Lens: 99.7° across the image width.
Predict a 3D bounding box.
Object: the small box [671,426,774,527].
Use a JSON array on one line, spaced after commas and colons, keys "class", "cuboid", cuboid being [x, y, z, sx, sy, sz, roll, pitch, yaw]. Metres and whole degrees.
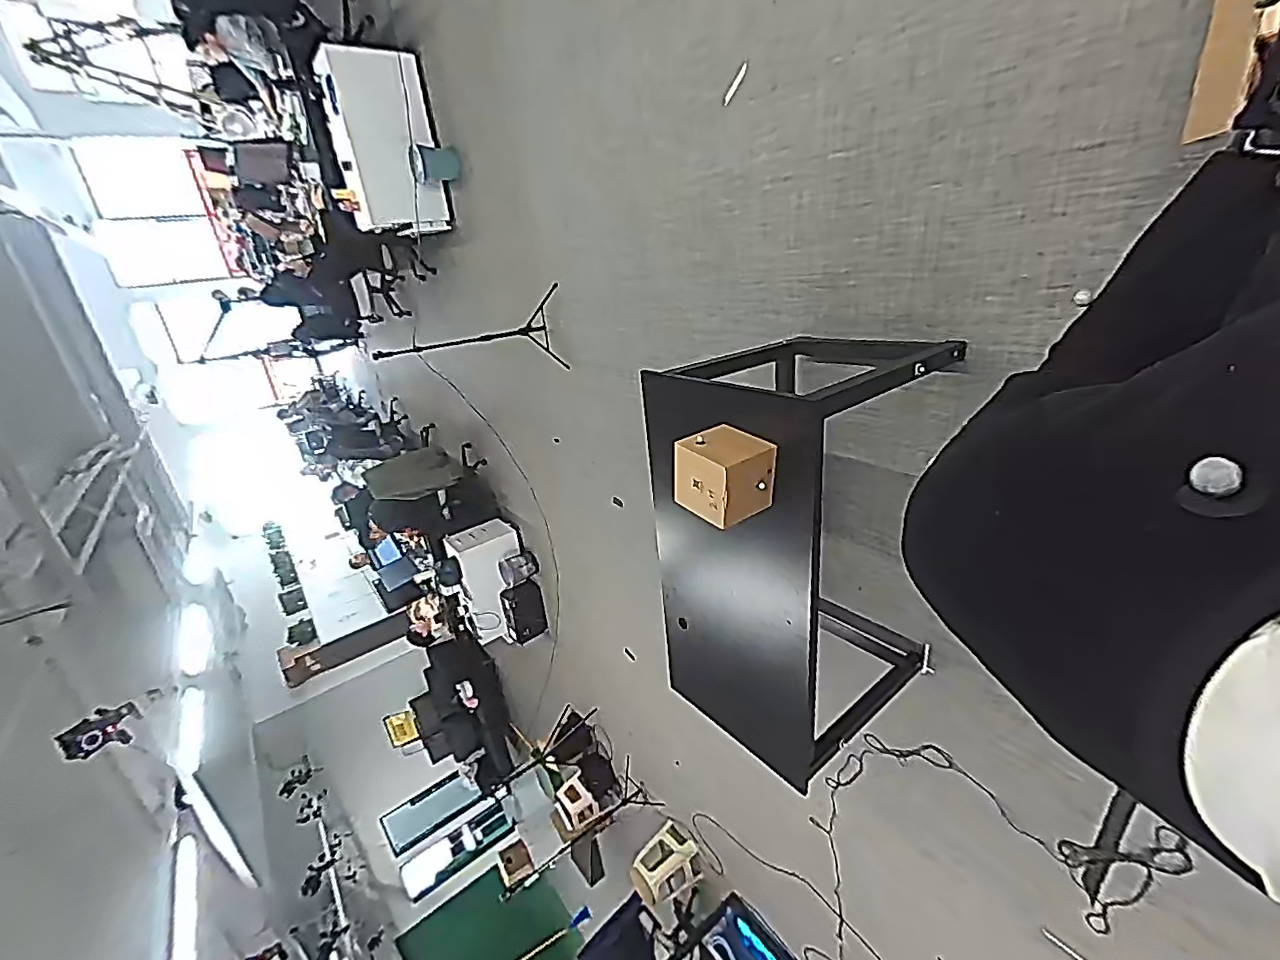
[{"class": "small box", "cuboid": [0.193, -0.018, 1.297, 0.179, 0.176, 0.168, 31, 134, 44]}]
